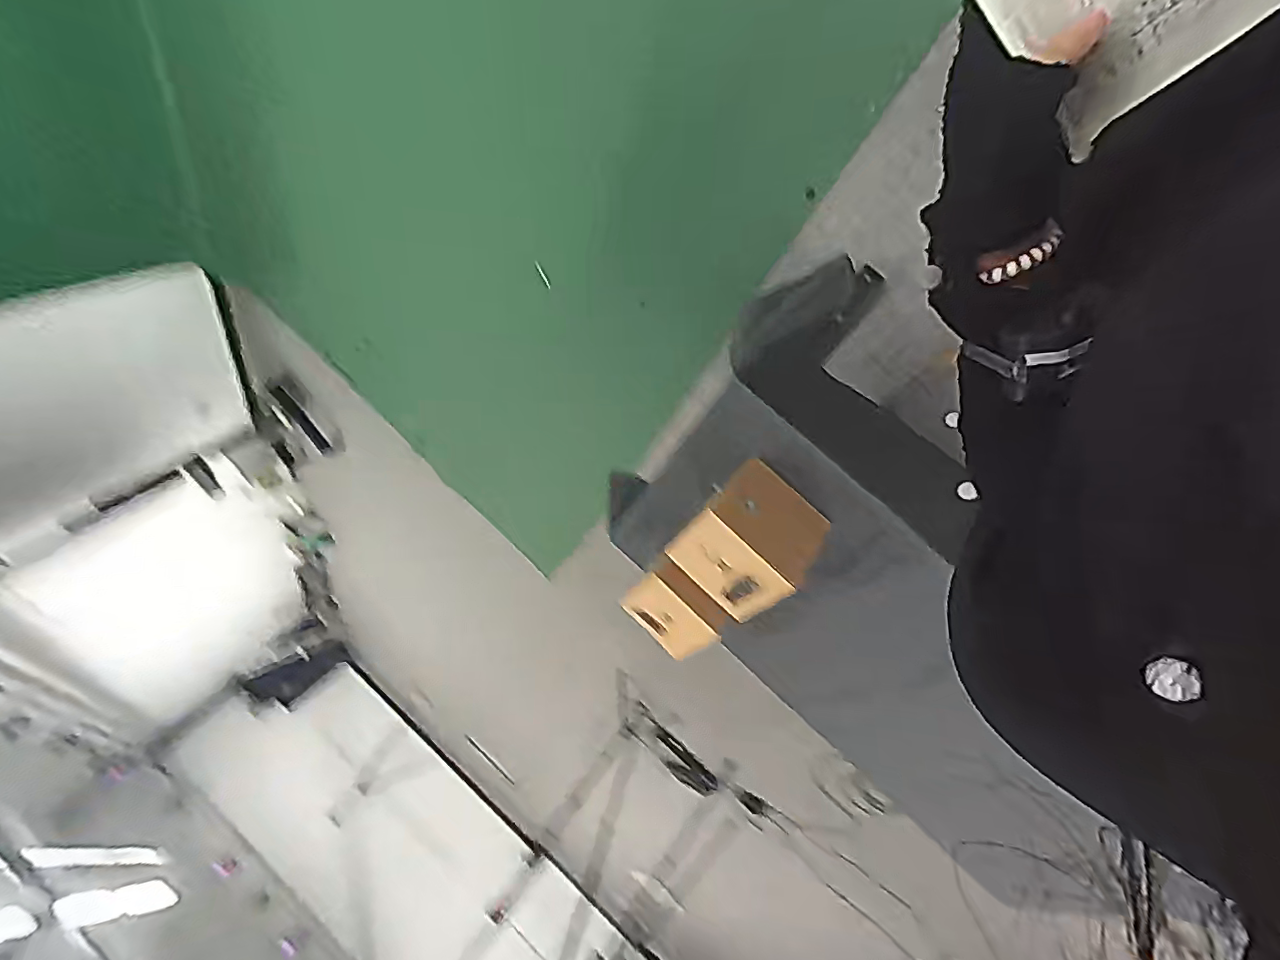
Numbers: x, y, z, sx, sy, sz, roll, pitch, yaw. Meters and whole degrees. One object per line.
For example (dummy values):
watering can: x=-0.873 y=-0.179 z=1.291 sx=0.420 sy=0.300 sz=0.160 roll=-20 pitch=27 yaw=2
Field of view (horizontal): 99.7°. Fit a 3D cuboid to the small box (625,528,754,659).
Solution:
small box: x=0.105 y=0.233 z=1.116 sx=0.168 sy=0.176 sz=0.179 roll=43 pitch=139 yaw=3
